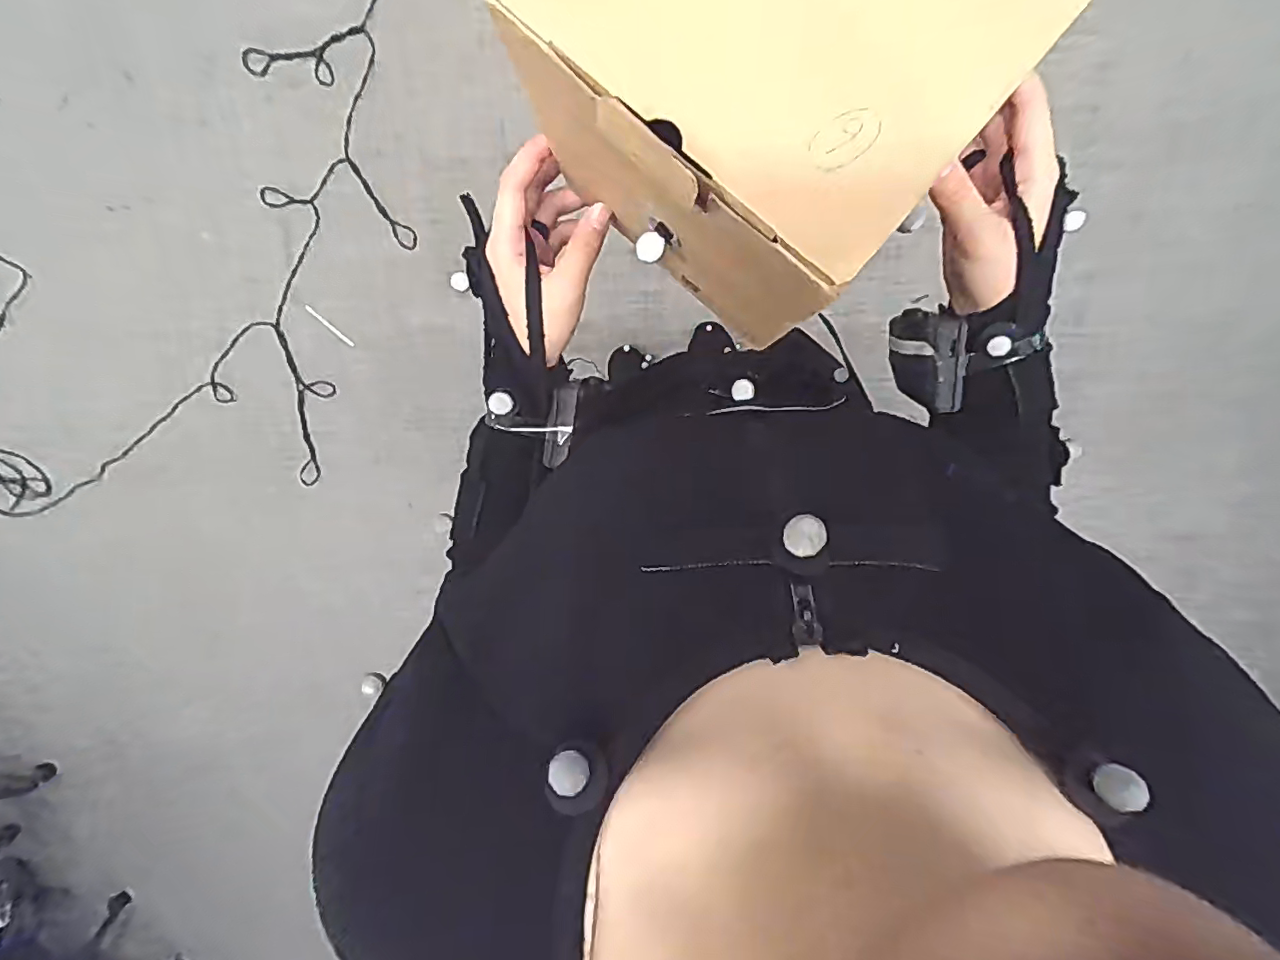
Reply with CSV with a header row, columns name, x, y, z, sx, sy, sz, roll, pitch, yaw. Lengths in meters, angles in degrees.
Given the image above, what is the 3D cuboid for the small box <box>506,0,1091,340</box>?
name,x,y,z,sx,sy,sz,roll,pitch,yaw
small box,0.070,-0.192,0.271,0.168,0.176,0.179,40,98,-2
